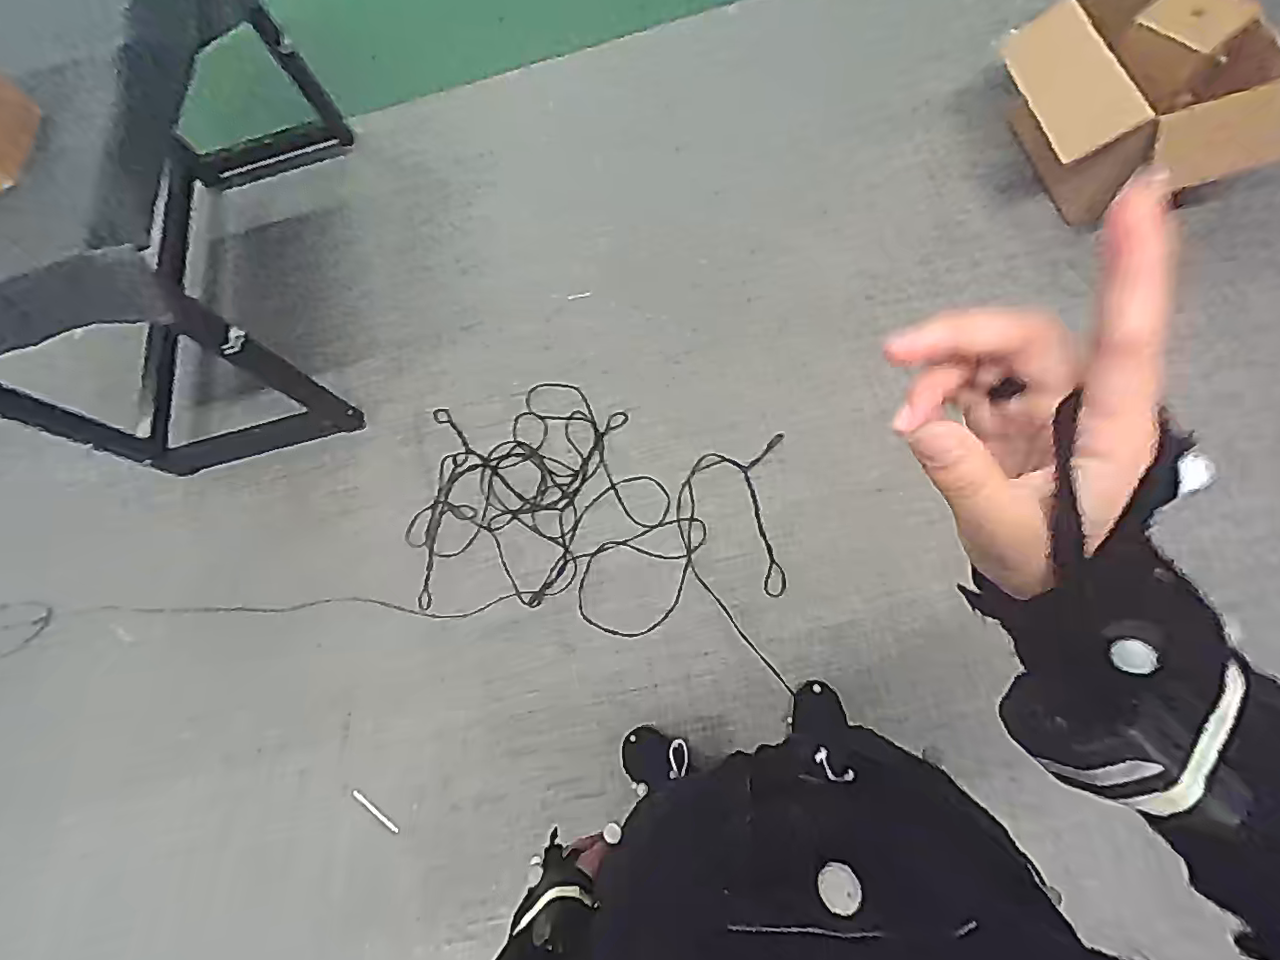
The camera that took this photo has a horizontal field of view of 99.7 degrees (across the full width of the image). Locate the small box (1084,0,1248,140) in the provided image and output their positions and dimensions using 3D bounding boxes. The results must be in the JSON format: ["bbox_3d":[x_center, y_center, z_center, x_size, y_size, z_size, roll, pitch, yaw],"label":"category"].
[{"bbox_3d":[1.183,-0.932,1.234,0.179,0.176,0.168,-39,71,-6],"label":"small box"}]
